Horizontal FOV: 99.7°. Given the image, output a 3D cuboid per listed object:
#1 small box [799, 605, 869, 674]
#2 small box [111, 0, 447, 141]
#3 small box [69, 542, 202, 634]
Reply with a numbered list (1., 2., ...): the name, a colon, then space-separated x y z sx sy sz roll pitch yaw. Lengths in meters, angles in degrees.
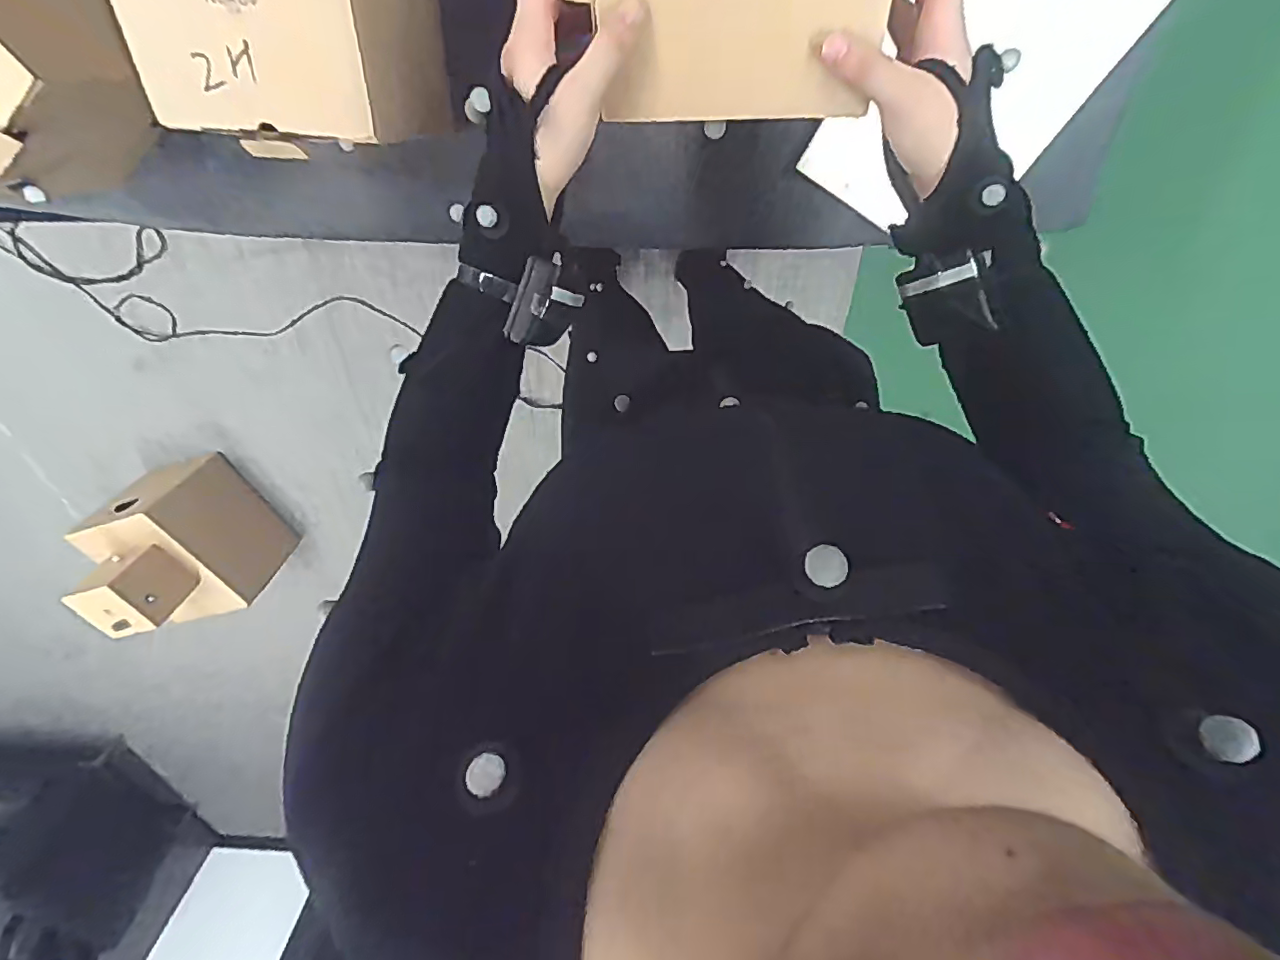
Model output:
1. small box: 0.663 0.547 1.864 0.179 0.176 0.168 1 128 4
2. small box: -0.267 -0.375 0.419 0.168 0.176 0.179 5 126 2
3. small box: -1.411 0.304 1.529 0.168 0.176 0.179 -14 124 12
